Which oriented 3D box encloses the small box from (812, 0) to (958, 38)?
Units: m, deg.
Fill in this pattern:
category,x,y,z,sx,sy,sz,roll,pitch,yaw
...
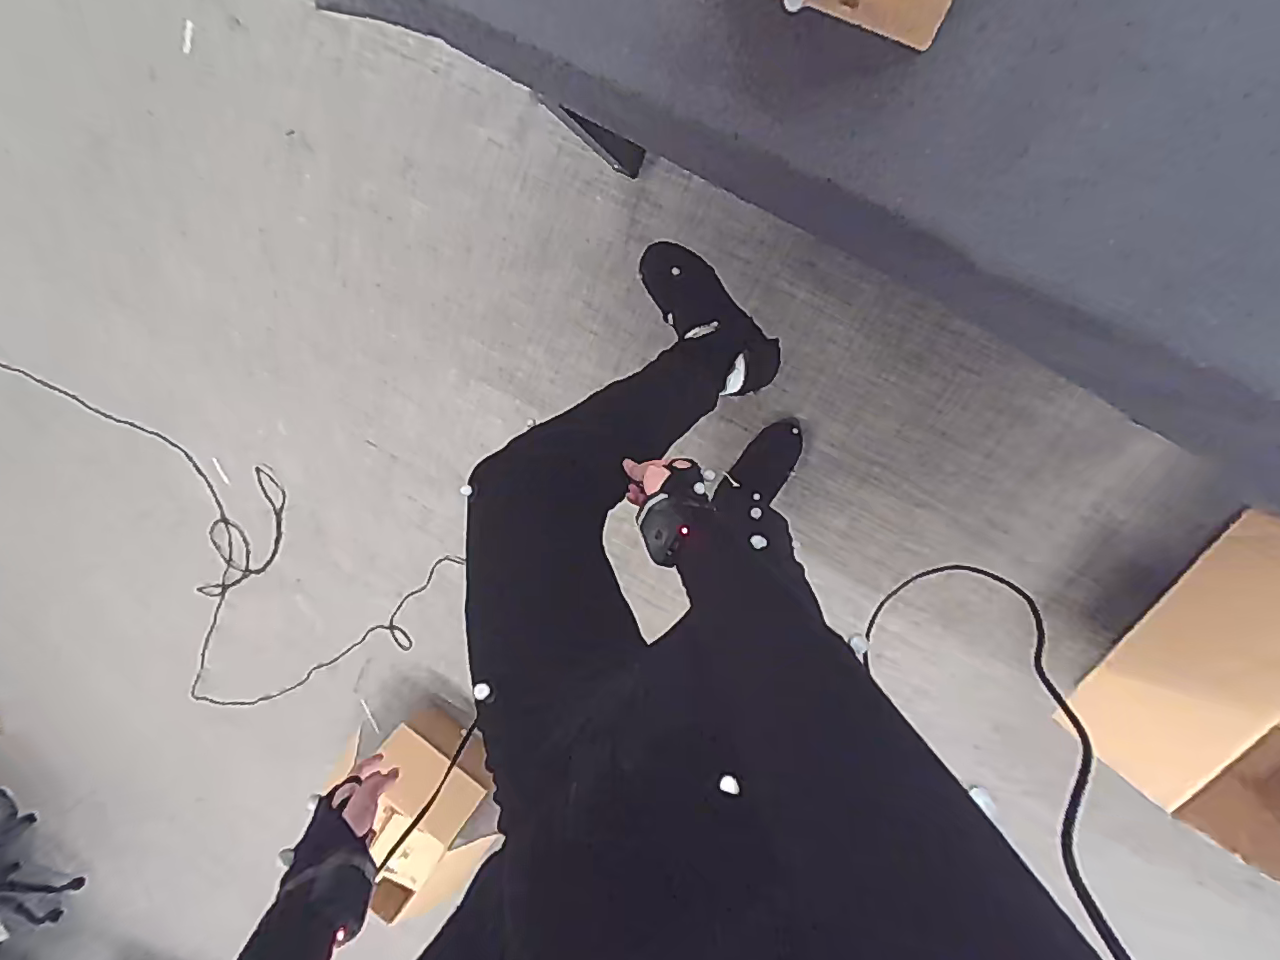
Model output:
category,x,y,z,sx,sy,sz,roll,pitch,yaw
small box,0.143,-0.388,0.276,0.168,0.176,0.179,27,111,8
